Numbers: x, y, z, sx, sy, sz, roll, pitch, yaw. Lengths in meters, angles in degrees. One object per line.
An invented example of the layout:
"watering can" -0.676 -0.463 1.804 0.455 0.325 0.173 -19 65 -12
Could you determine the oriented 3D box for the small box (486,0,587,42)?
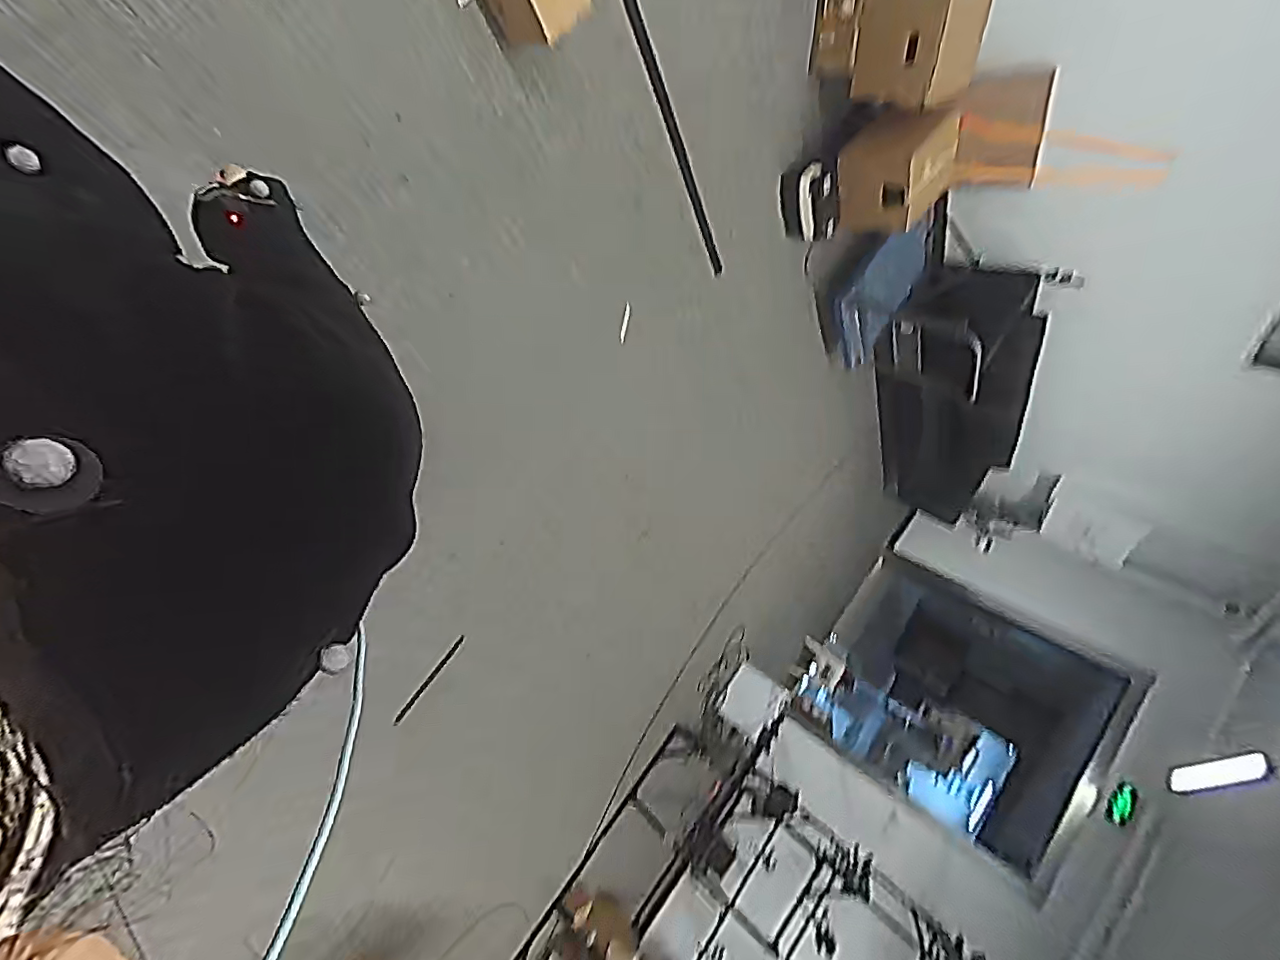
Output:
"small box" -0.262 -1.171 1.266 0.168 0.176 0.179 -53 144 -11
